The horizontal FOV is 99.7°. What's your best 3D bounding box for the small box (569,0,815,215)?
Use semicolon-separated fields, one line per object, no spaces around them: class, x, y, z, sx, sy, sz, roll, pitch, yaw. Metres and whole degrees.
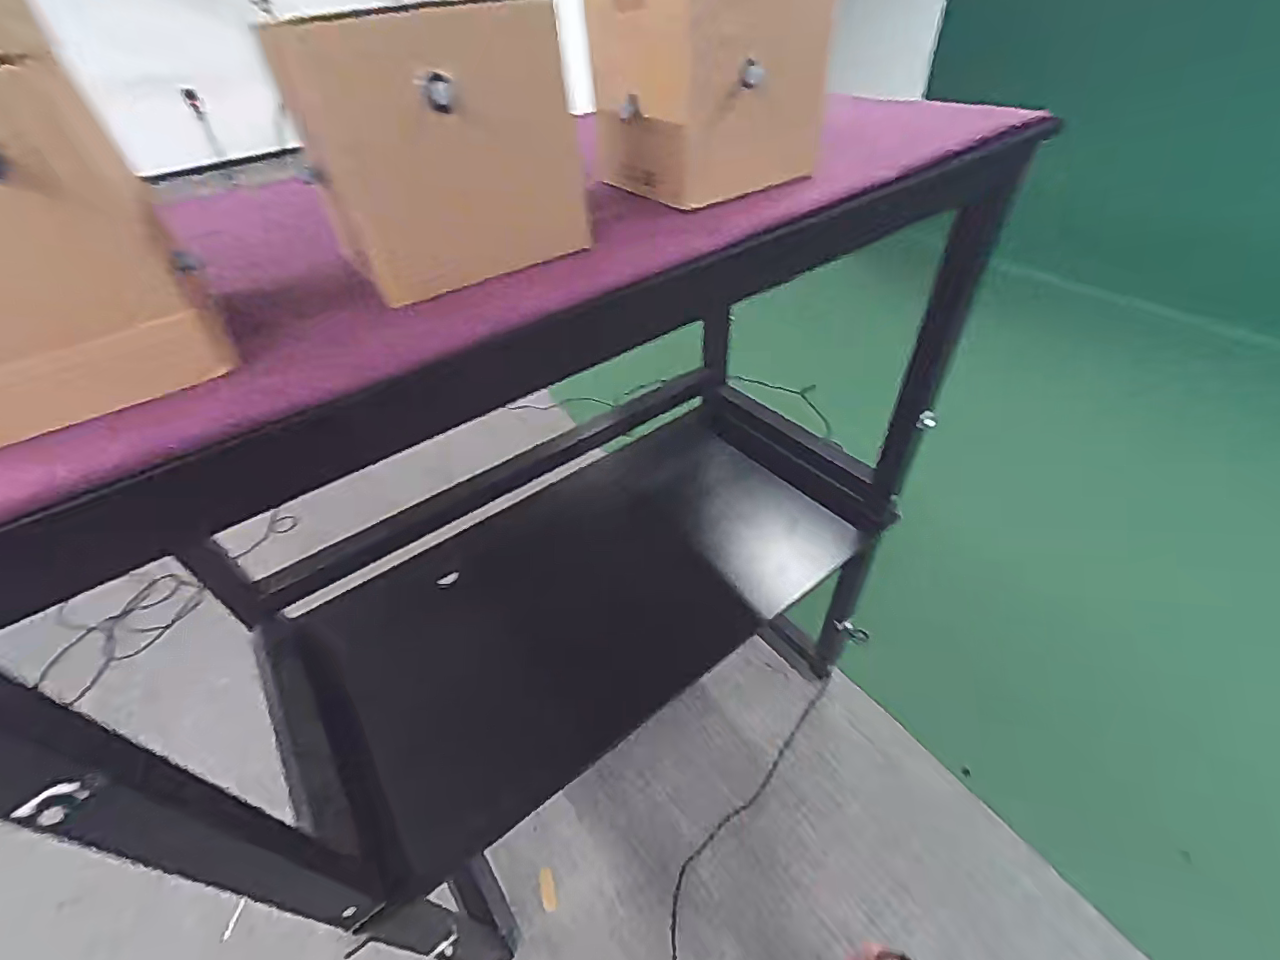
small box;0.055;-0.388;0.545;0.179;0.176;0.168;-29;47;-20

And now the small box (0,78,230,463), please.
small box;-0.394;-0.123;0.324;0.179;0.176;0.168;-28;47;-23

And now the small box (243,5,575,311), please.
small box;-0.173;-0.258;0.436;0.179;0.176;0.168;-28;47;-21
